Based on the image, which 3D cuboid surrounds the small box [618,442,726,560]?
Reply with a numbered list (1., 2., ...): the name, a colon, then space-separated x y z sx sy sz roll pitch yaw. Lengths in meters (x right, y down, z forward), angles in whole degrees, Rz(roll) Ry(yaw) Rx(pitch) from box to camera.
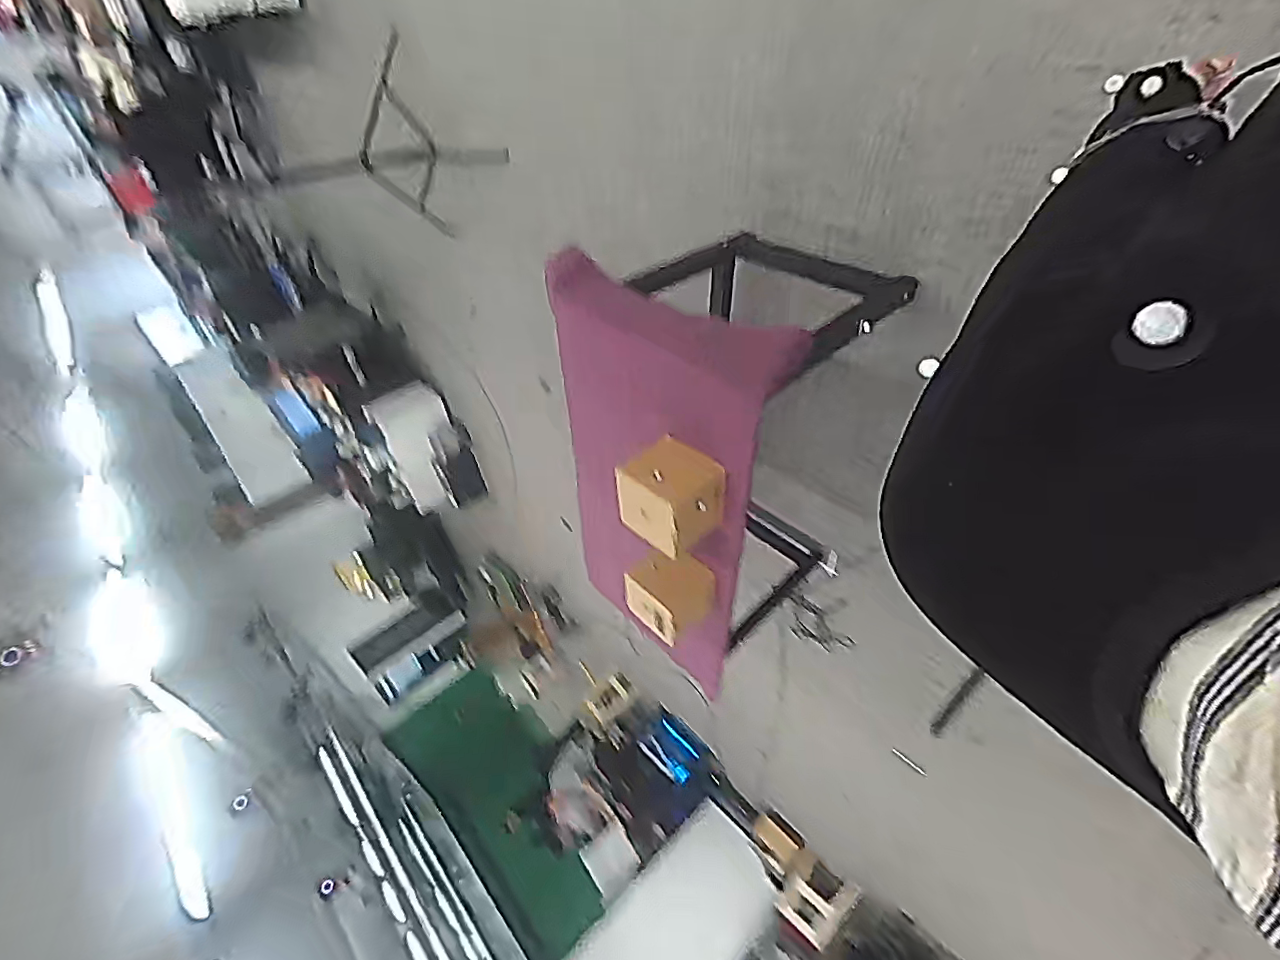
1. small box: 0.076 0.039 1.210 0.179 0.176 0.168 33 144 35
